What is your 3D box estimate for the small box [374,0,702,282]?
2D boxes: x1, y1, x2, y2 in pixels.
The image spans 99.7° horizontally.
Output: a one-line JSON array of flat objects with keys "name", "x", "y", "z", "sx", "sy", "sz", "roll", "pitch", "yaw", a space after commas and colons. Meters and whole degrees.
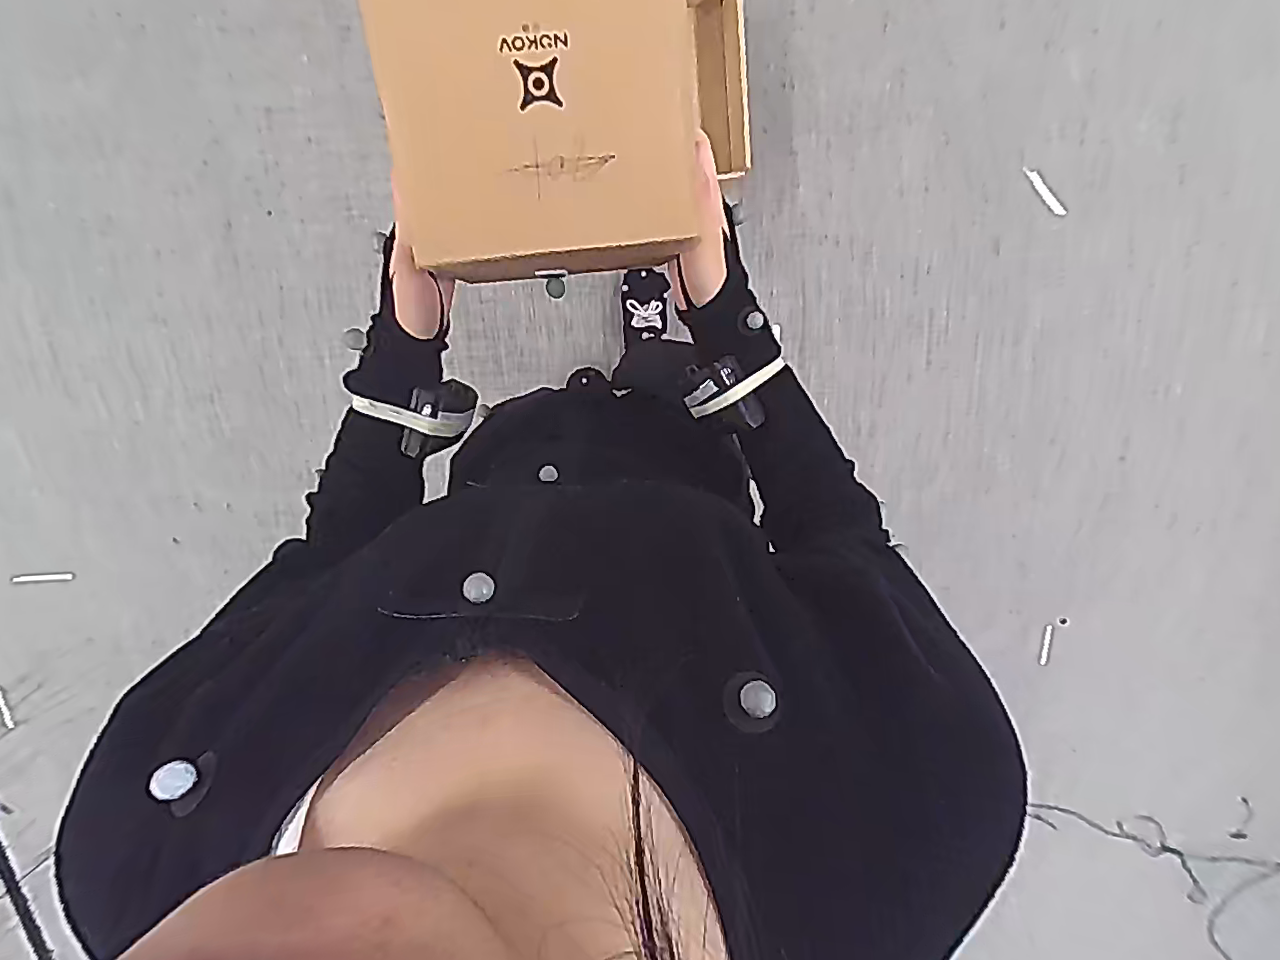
[{"name": "small box", "x": -0.060, "y": -0.239, "z": 0.365, "sx": 0.168, "sy": 0.176, "sz": 0.179, "roll": -7, "pitch": 107, "yaw": -4}]
